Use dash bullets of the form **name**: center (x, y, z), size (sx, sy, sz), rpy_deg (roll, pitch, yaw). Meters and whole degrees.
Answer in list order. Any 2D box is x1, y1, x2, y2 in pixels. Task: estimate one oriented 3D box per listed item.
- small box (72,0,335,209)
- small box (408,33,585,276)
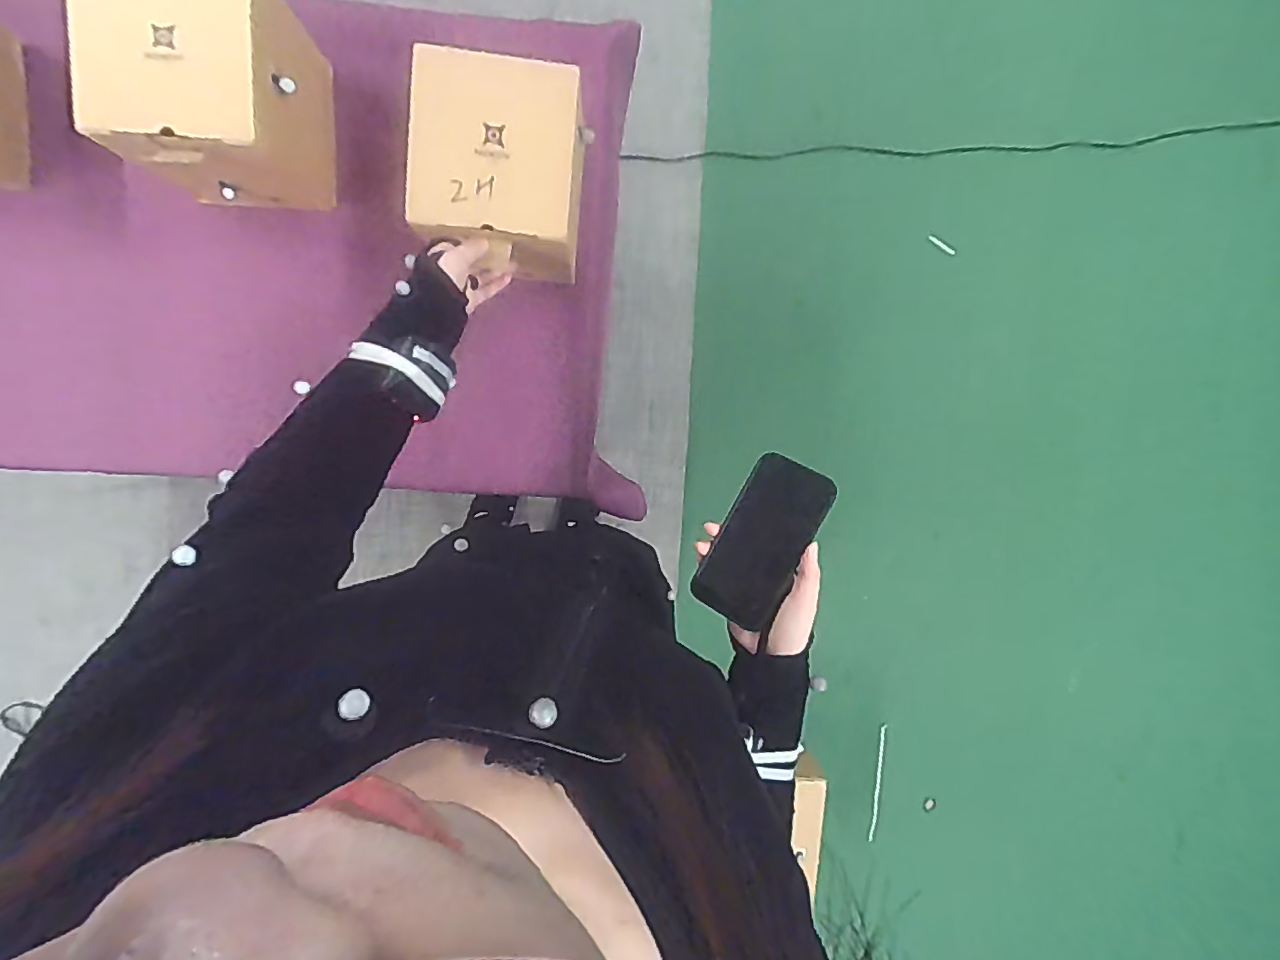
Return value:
- **small box**: center (-0.459, -0.429, 0.597), size (0.168, 0.176, 0.179), rpy_deg (1, 96, -5)
- **small box**: center (-0.152, -0.356, 0.626), size (0.168, 0.176, 0.179), rpy_deg (5, 95, -4)
